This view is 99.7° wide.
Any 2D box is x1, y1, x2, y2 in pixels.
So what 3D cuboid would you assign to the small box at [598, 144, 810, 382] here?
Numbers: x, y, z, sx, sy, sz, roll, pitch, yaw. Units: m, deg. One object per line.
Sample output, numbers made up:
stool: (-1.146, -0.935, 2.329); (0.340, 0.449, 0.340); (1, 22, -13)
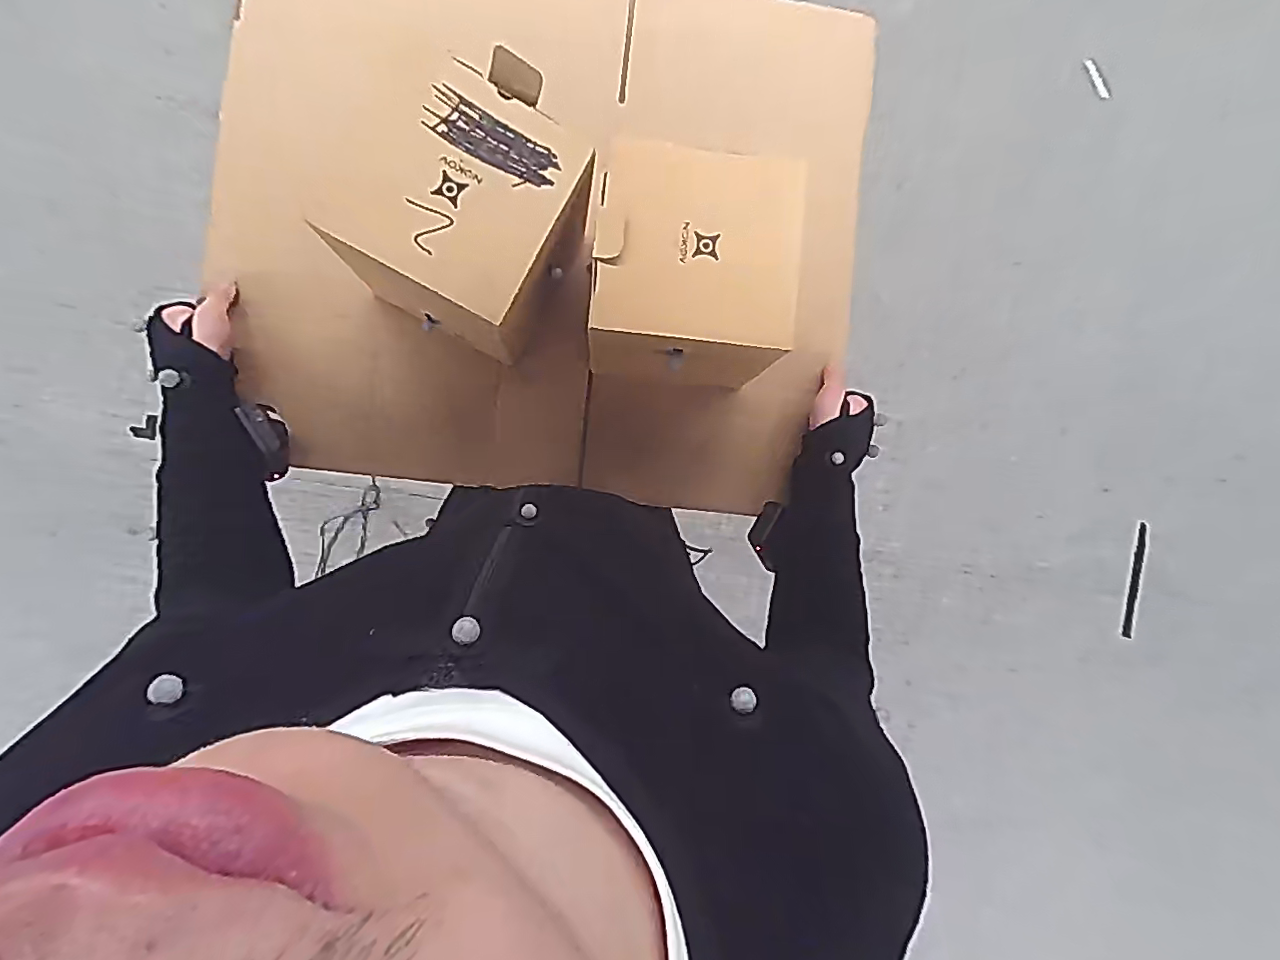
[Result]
small box: (0.052, -0.201, 0.552); (0.179, 0.176, 0.168); (5, 88, -4)
